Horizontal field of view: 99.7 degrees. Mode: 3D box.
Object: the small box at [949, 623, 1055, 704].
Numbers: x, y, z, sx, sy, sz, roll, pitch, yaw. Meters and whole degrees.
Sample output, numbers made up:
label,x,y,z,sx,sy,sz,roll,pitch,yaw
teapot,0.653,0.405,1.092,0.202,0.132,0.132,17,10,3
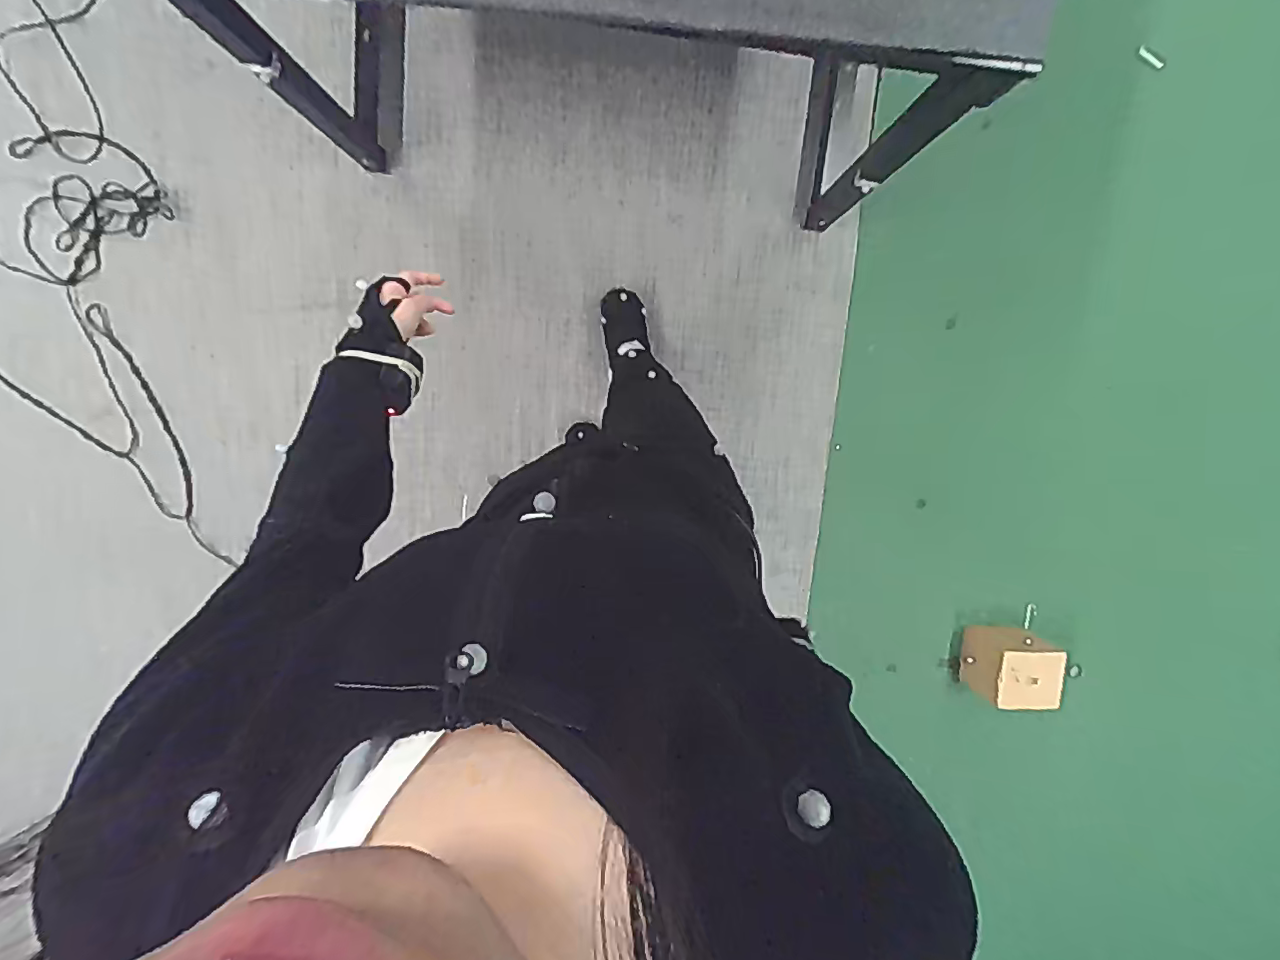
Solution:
label,x,y,z,sx,sy,sz,roll,pitch,yaw
small box,1.021,0.517,1.538,0.179,0.176,0.168,2,99,-3
